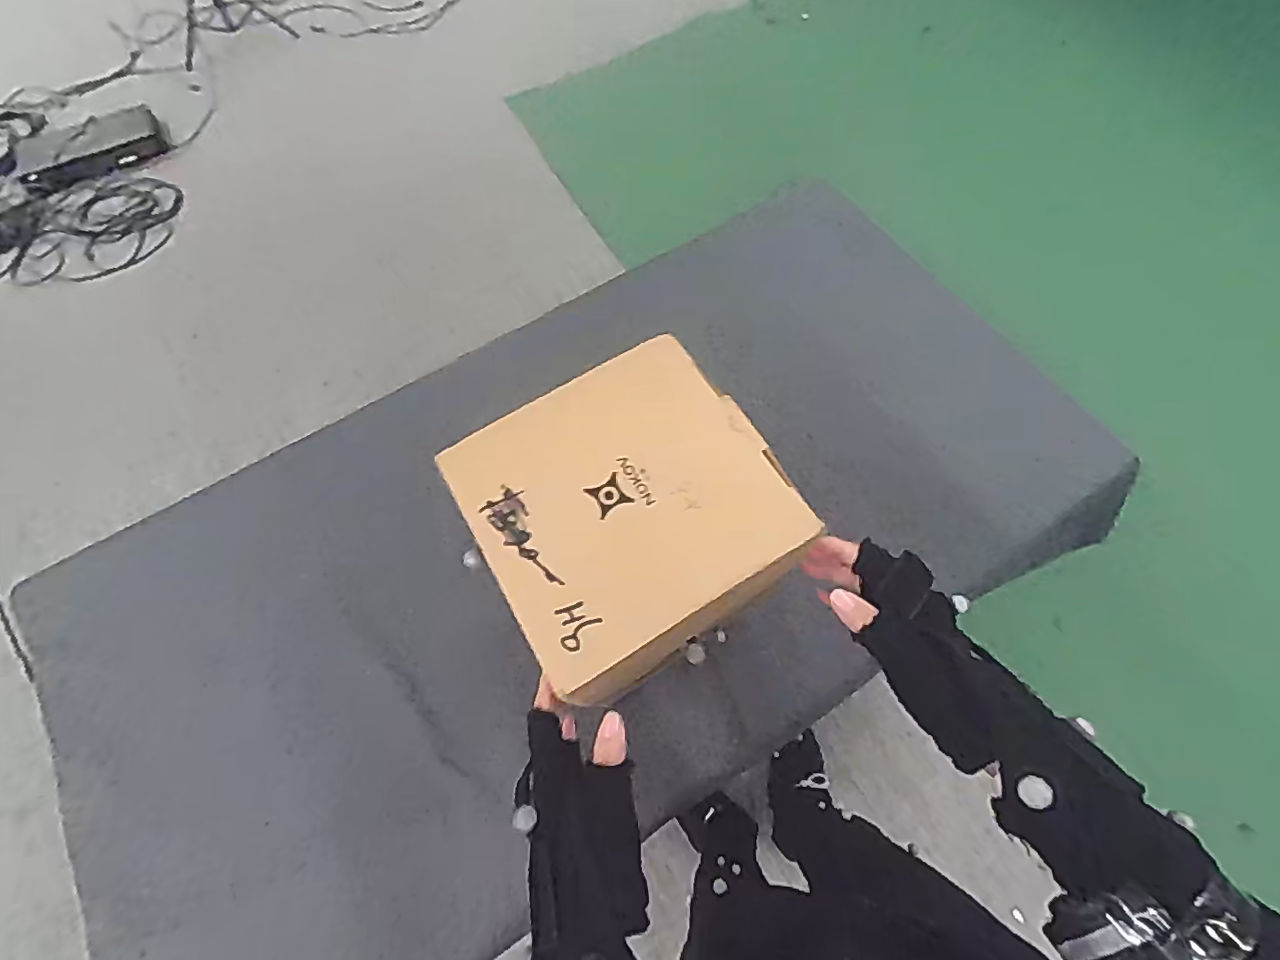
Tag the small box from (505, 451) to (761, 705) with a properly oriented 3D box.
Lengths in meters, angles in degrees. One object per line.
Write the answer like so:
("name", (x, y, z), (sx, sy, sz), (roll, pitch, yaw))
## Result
("small box", (-0.007, 0.106, 0.552), (0.179, 0.176, 0.168), (-33, 69, -10))
